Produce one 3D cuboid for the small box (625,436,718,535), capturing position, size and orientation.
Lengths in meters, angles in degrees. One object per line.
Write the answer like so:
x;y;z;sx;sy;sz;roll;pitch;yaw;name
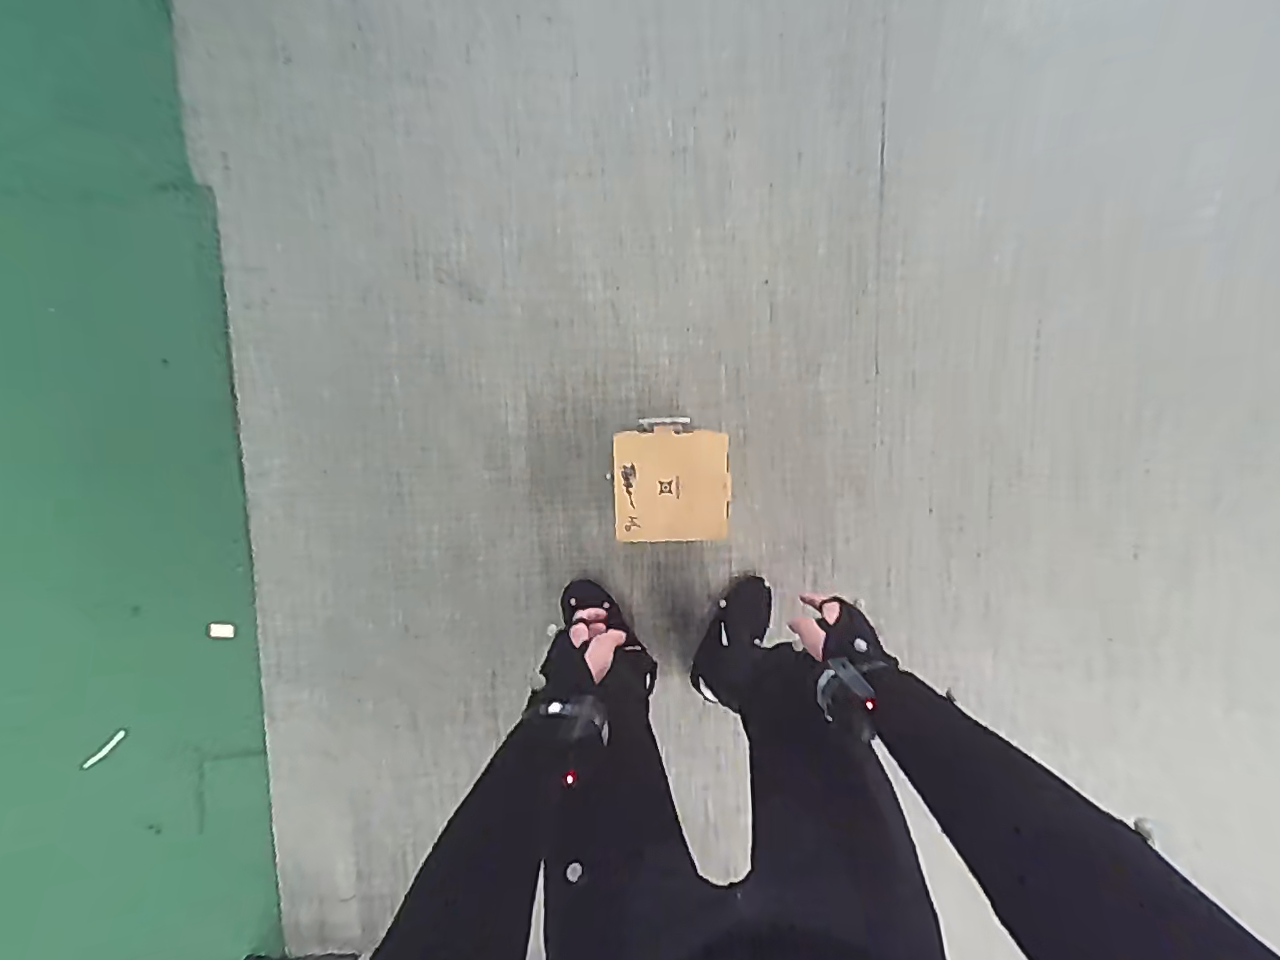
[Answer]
0.057;0.004;1.052;0.168;0.176;0.179;1;95;1;small box
